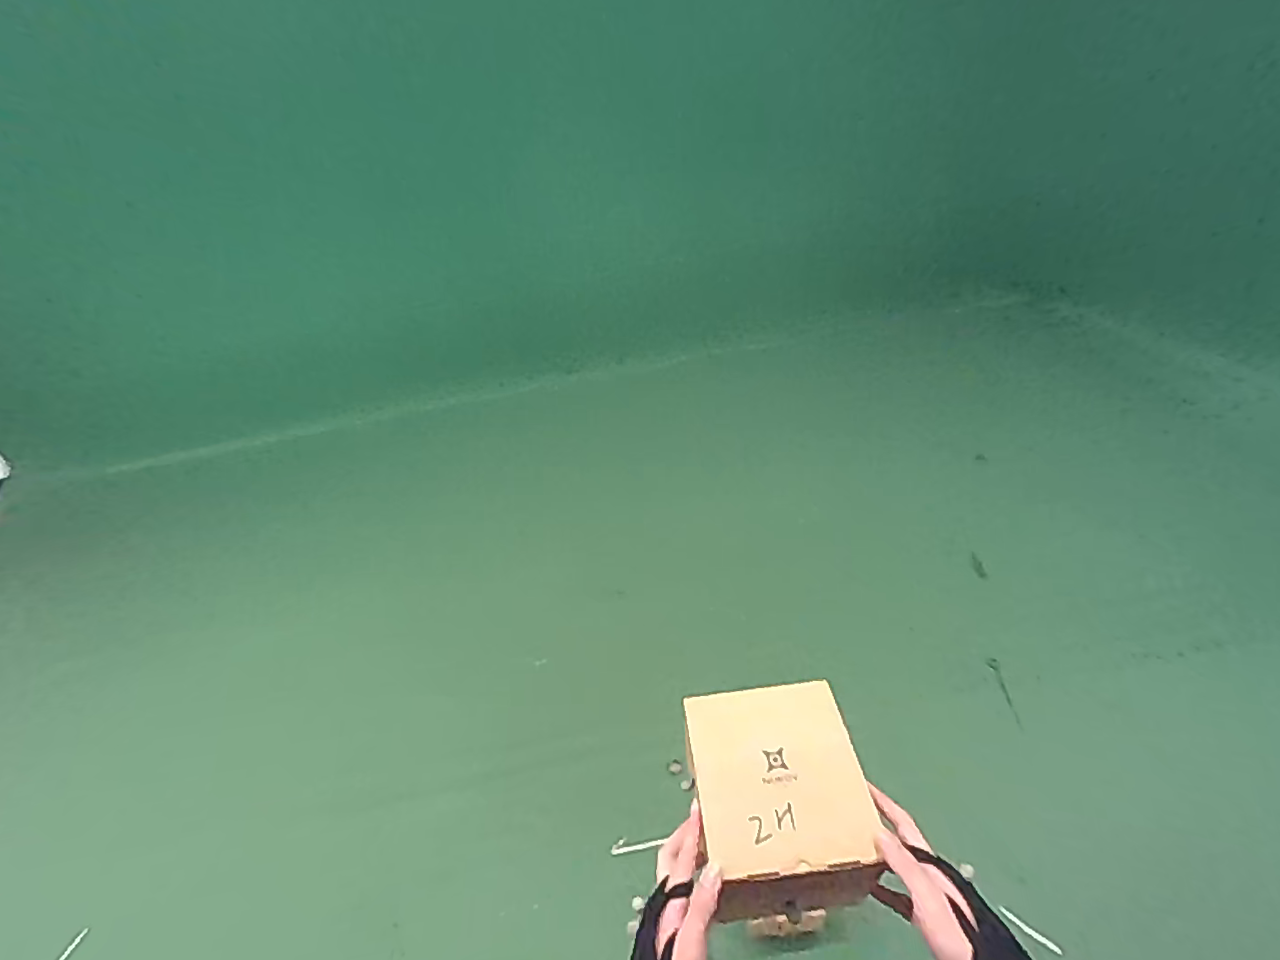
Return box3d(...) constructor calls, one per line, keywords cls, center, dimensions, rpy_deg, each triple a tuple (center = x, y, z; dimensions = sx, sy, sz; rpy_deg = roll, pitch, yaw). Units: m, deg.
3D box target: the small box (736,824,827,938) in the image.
box3d(cls="small box", center=(0.320, 0.937, 1.264), dimensions=(0.168, 0.176, 0.179), rpy_deg=(-9, 43, 1))
